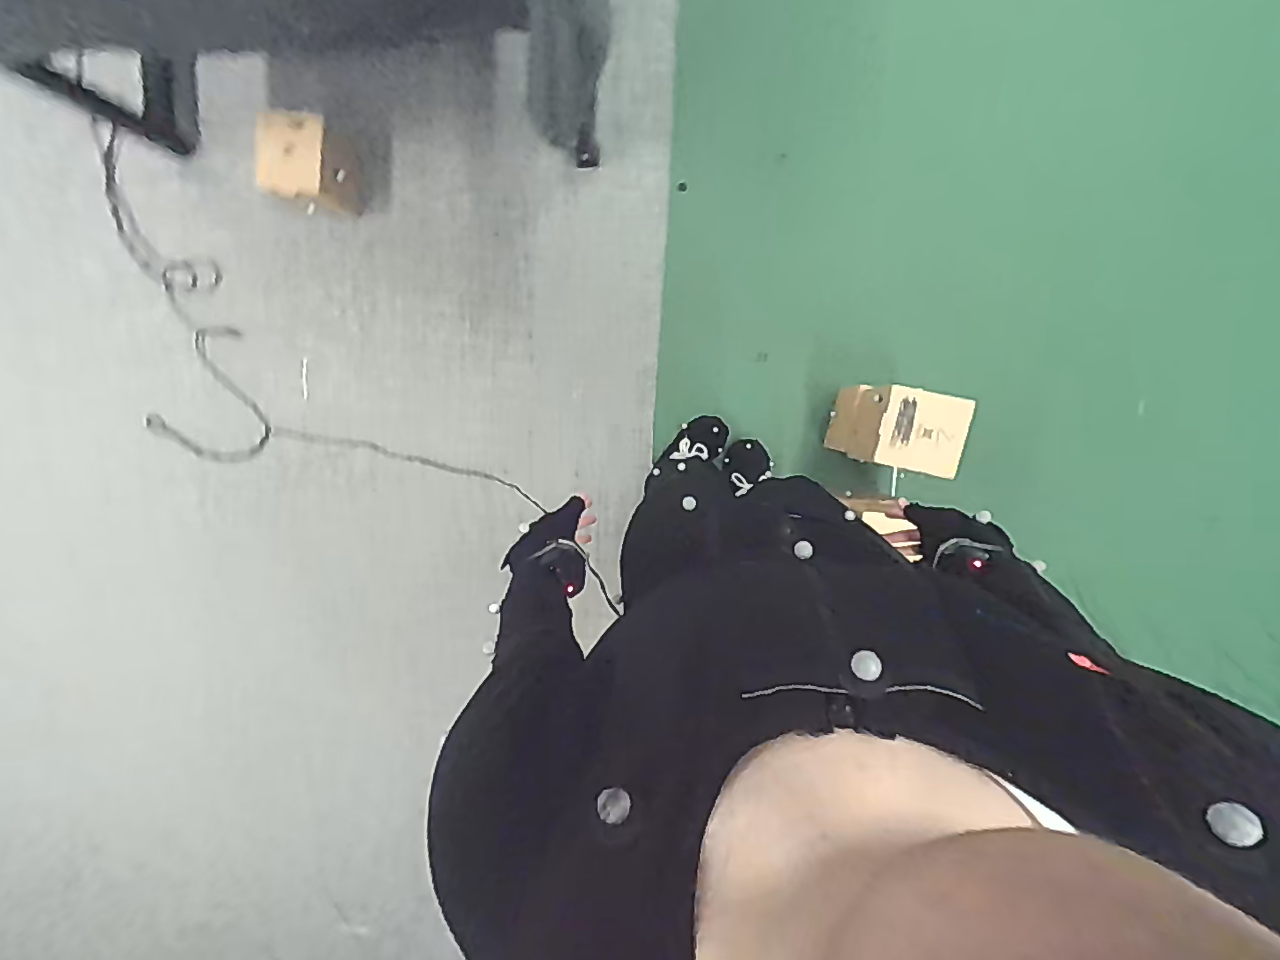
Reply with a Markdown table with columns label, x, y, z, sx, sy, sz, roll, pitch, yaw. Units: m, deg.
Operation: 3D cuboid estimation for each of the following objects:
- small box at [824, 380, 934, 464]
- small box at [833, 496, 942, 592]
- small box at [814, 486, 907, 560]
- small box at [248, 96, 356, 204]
| label | x | y | z | sx | sy | sz | roll | pitch | yaw |
| --- | --- | --- | --- | --- | --- | --- | --- | --- | --- |
| small box | 0.586 | -0.147 | 1.347 | 0.179 | 0.176 | 0.168 | 14 | 97 | 2 |
| small box | 0.549 | 0.136 | 1.221 | 0.168 | 0.176 | 0.179 | 4 | 98 | 3 |
| small box | 0.553 | 0.108 | 1.382 | 0.179 | 0.176 | 0.168 | 1 | 98 | 3 |
| small box | -0.830 | -0.807 | 1.341 | 0.168 | 0.176 | 0.179 | 8 | 98 | 2 |
